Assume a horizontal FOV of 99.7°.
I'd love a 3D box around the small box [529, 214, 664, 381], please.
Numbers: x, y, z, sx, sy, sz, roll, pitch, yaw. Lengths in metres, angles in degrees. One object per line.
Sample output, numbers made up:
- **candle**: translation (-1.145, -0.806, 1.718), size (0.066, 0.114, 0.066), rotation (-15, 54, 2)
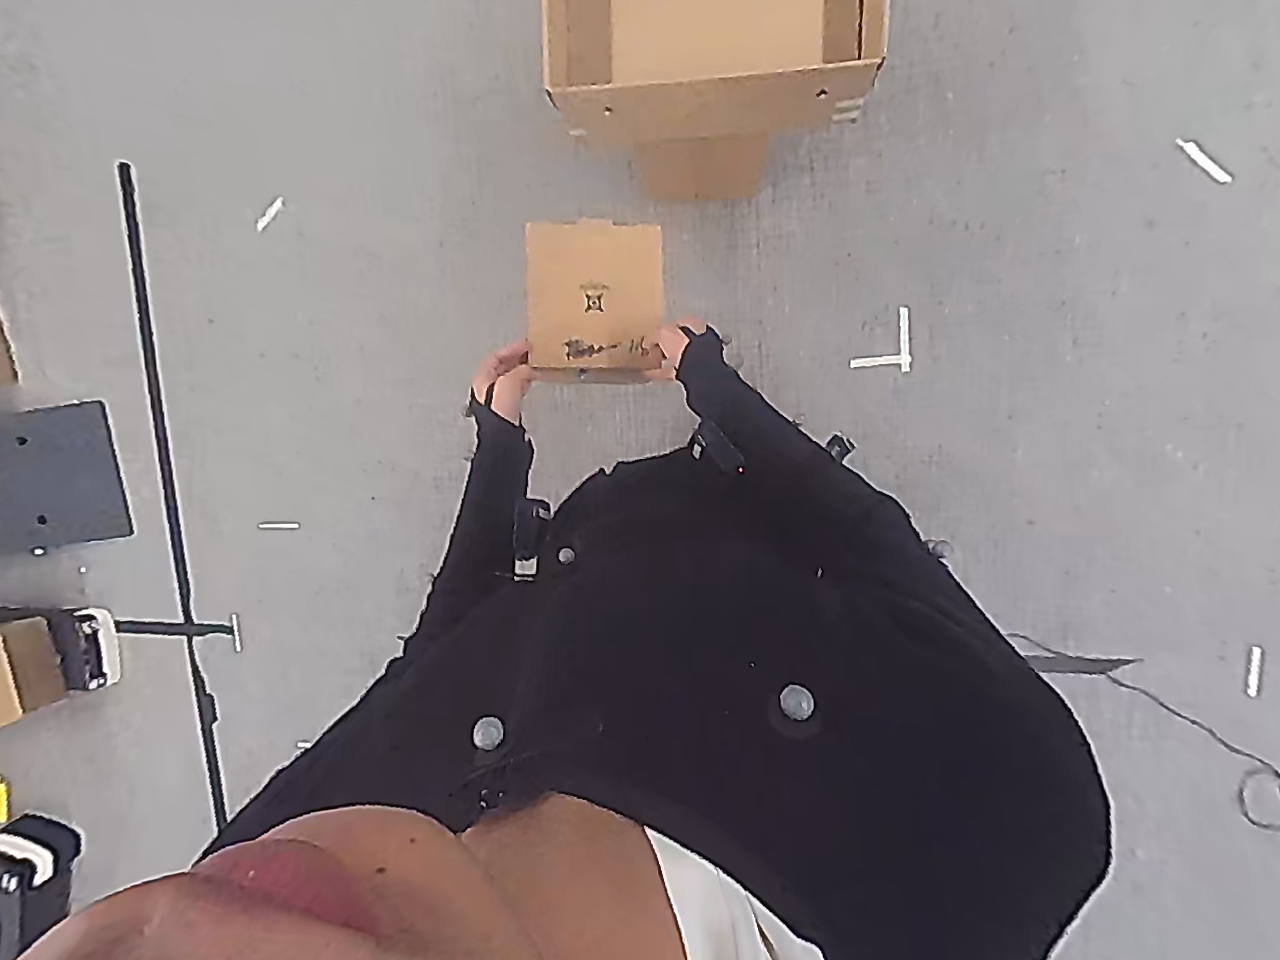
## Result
- **small box**: translation (-0.060, -0.236, 0.735), size (0.168, 0.176, 0.179), rotation (0, 93, -4)
